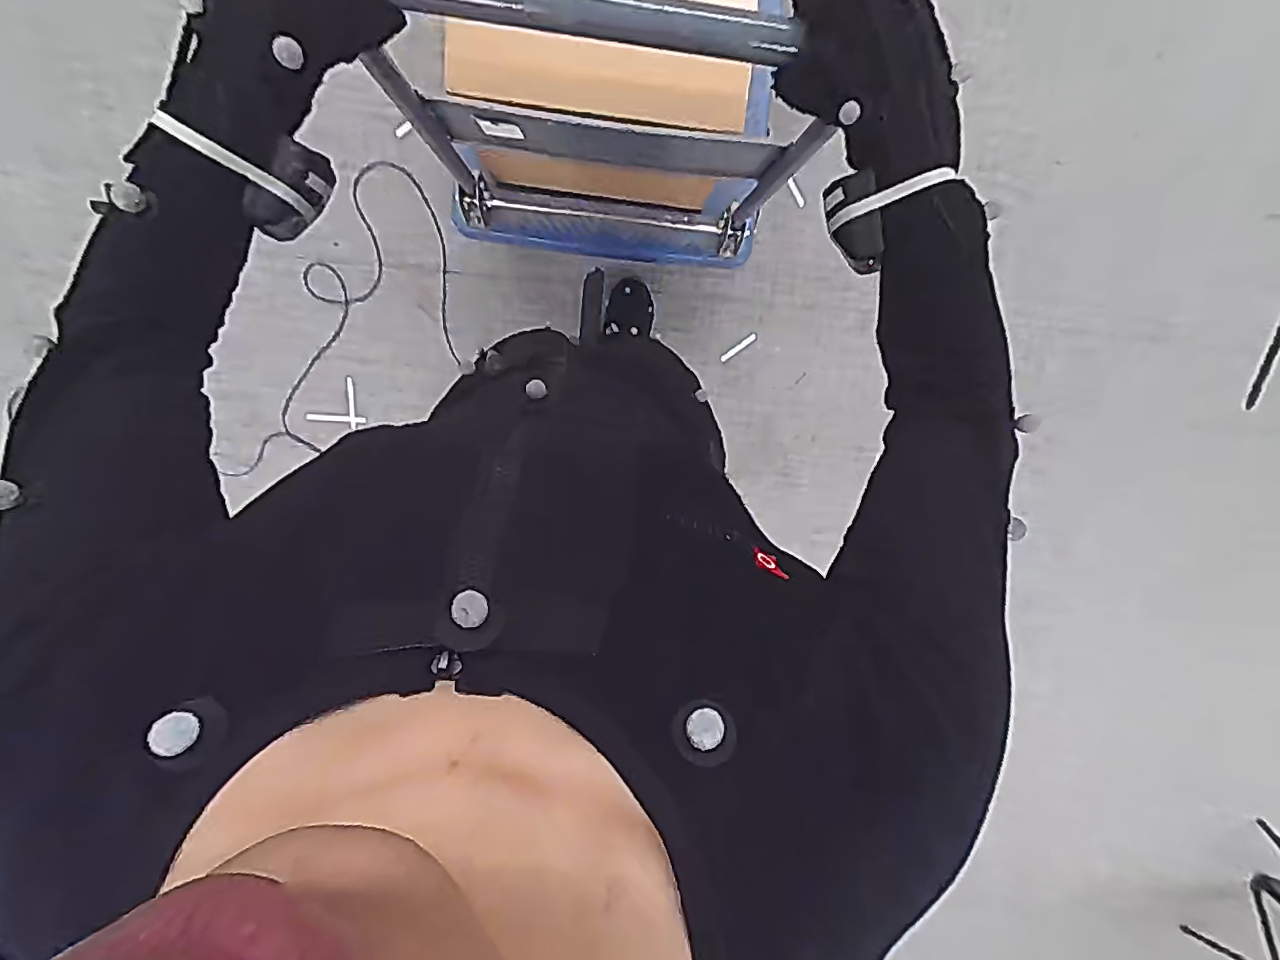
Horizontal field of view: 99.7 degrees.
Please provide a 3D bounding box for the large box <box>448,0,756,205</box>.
[{"bbox_3d":[-0.057,-0.662,0.846,0.408,0.320,0.320,5,99,-5],"label":"large box"}]
